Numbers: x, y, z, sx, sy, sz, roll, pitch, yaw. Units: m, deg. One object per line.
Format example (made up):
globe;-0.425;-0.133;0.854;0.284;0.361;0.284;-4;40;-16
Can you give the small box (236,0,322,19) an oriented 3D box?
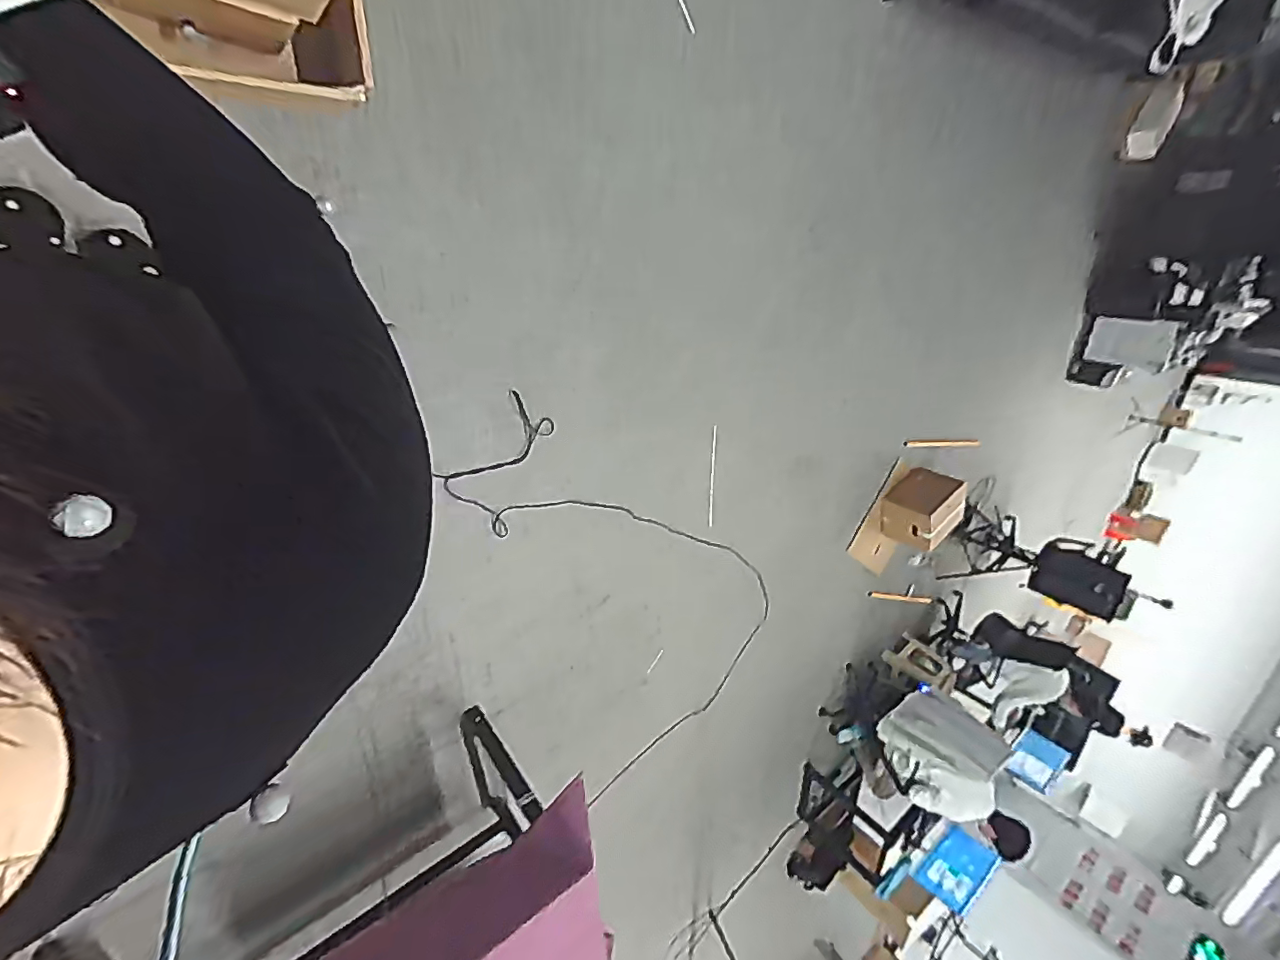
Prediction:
small box;-0.389;-0.565;0.491;0.179;0.176;0.168;-10;115;-37
